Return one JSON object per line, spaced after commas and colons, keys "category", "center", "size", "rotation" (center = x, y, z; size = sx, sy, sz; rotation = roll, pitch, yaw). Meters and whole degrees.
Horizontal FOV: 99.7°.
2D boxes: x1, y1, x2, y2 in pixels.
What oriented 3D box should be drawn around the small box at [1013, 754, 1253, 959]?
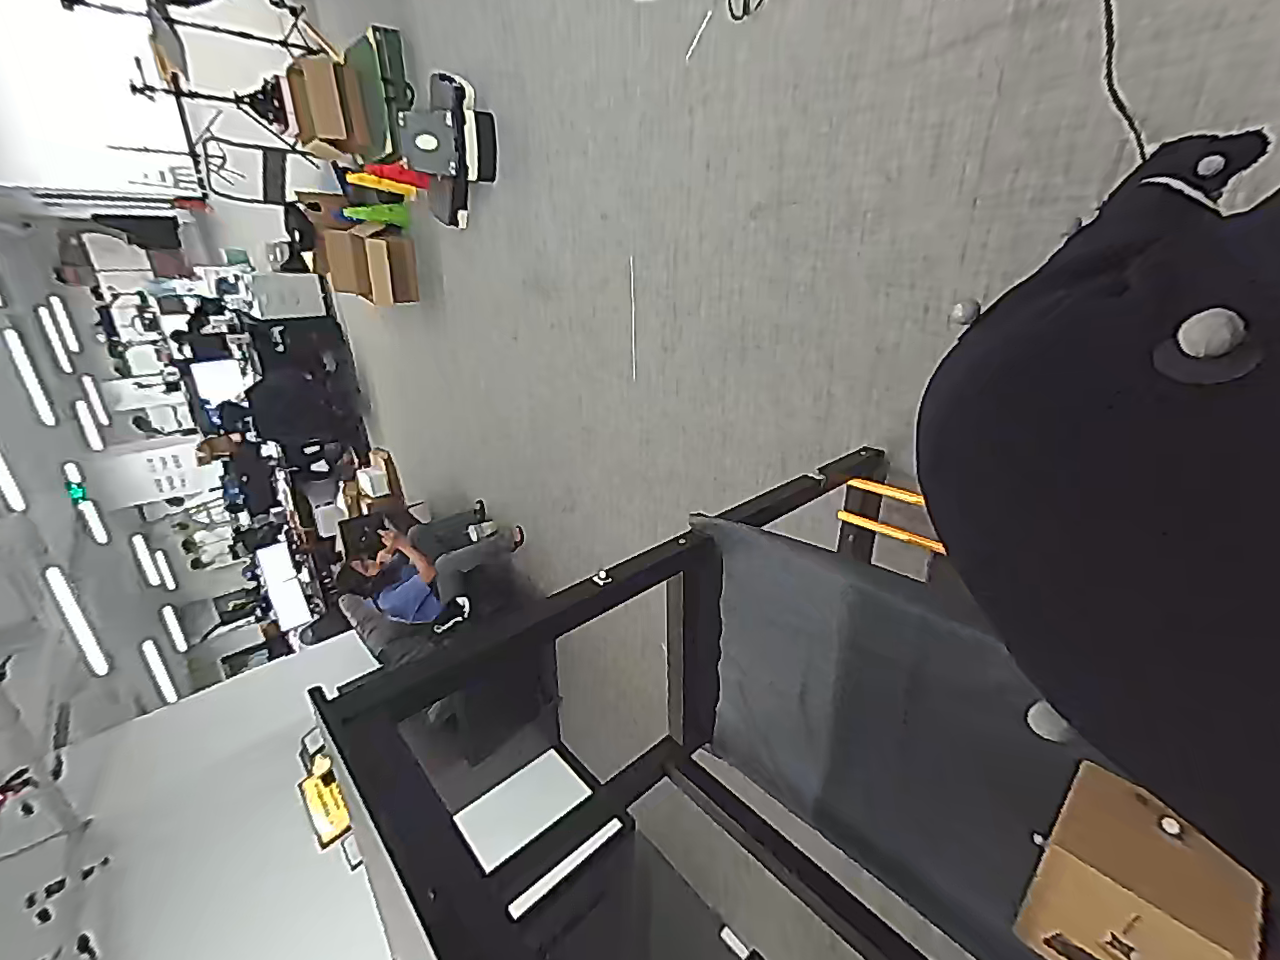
{"category": "small box", "center": [0.580, 0.477, 0.641], "size": [0.168, 0.176, 0.179], "rotation": [22, 121, 43]}
